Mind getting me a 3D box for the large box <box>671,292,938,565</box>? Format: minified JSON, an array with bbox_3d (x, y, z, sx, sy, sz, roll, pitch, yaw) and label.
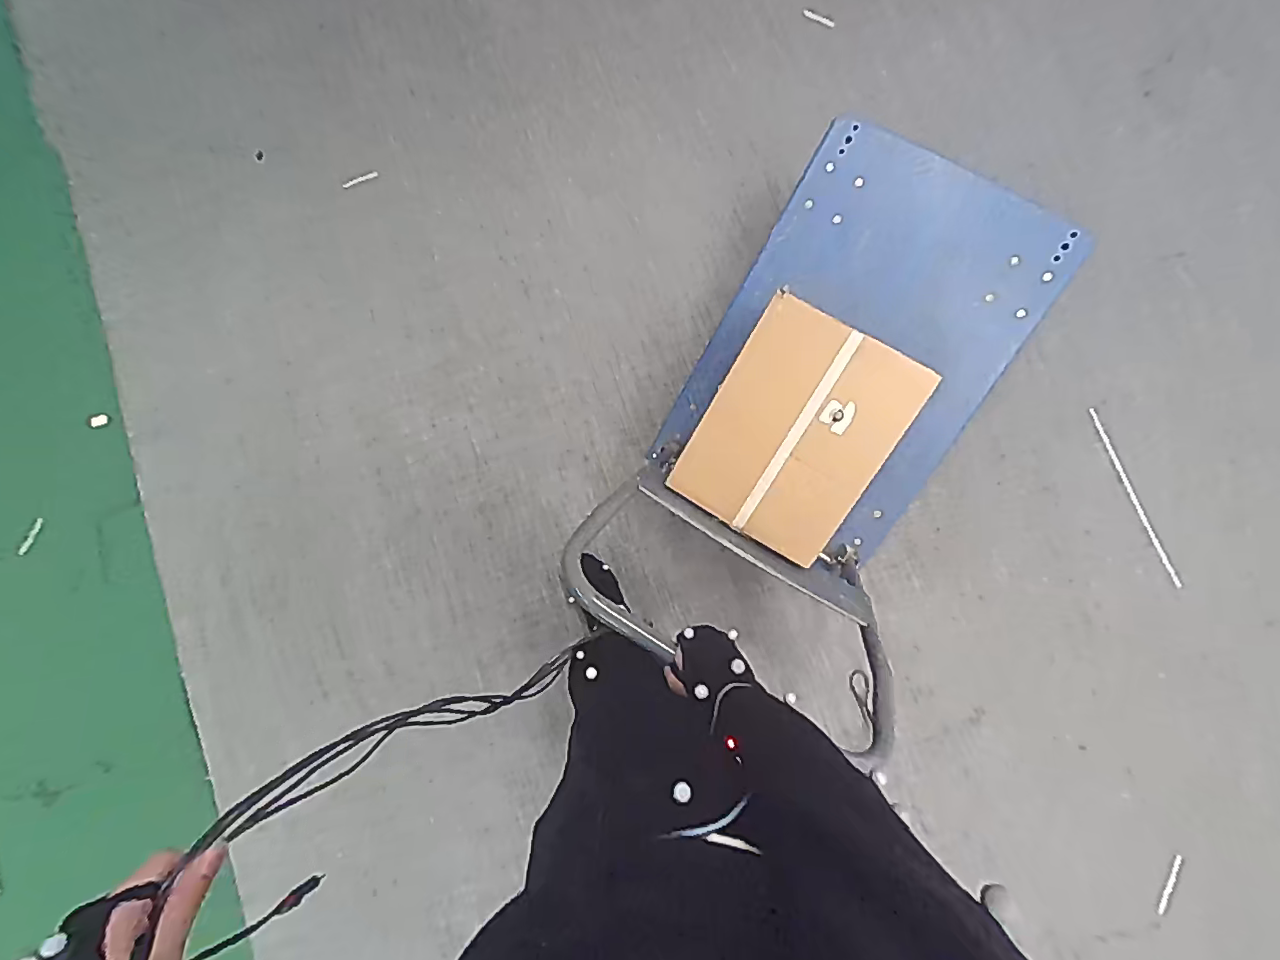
[{"bbox_3d":[0.313,-0.105,1.110,0.320,0.320,0.408,32,105,6],"label":"large box"}]
